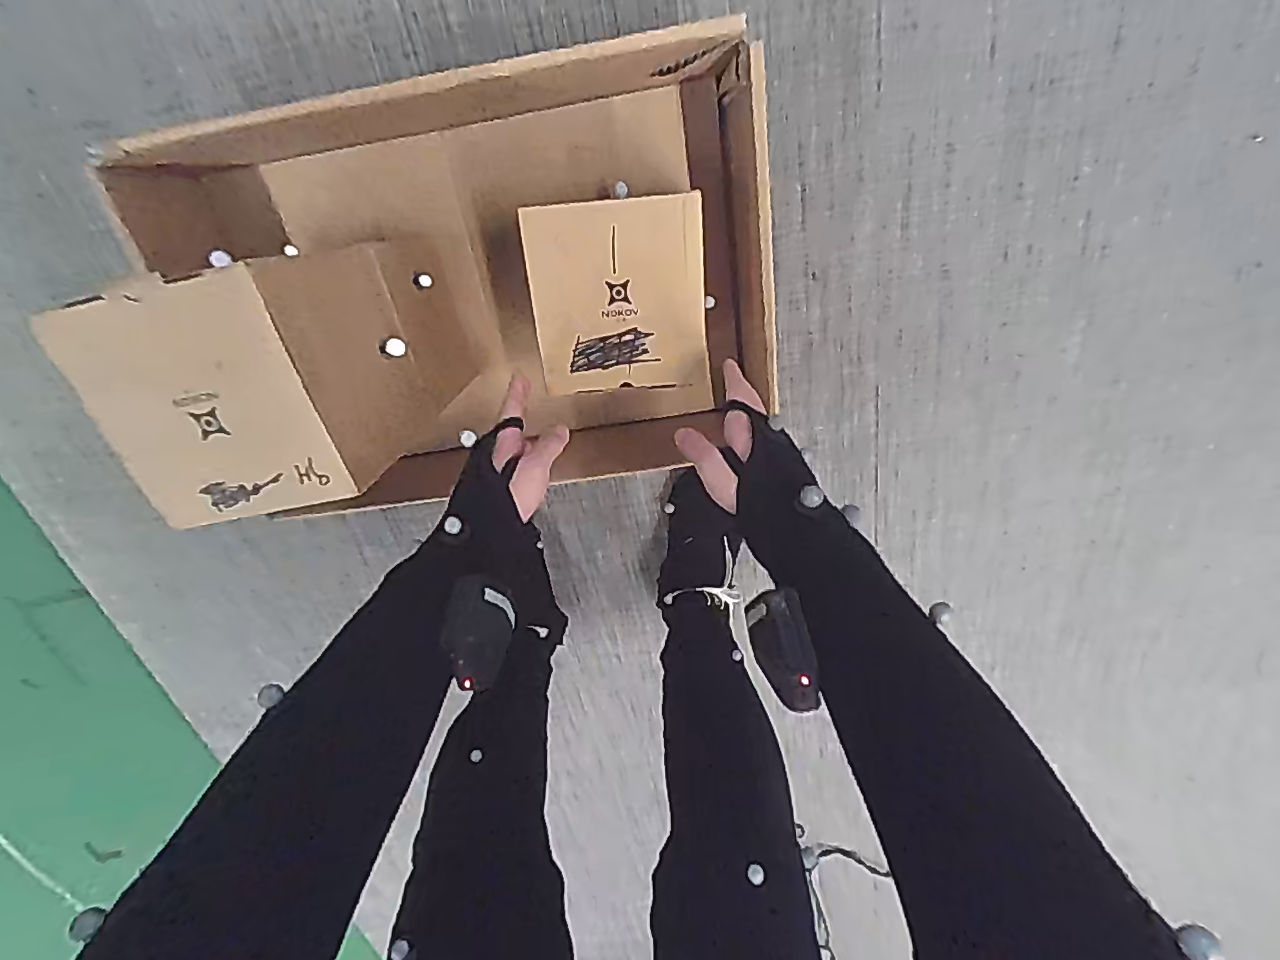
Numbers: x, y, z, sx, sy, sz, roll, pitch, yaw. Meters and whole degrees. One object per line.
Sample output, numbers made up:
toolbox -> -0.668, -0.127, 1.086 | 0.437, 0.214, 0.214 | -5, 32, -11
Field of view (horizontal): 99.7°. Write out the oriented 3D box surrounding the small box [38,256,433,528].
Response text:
small box -> -0.304, -0.085, 0.458 | 0.168, 0.176, 0.179 | -10, 115, 5
